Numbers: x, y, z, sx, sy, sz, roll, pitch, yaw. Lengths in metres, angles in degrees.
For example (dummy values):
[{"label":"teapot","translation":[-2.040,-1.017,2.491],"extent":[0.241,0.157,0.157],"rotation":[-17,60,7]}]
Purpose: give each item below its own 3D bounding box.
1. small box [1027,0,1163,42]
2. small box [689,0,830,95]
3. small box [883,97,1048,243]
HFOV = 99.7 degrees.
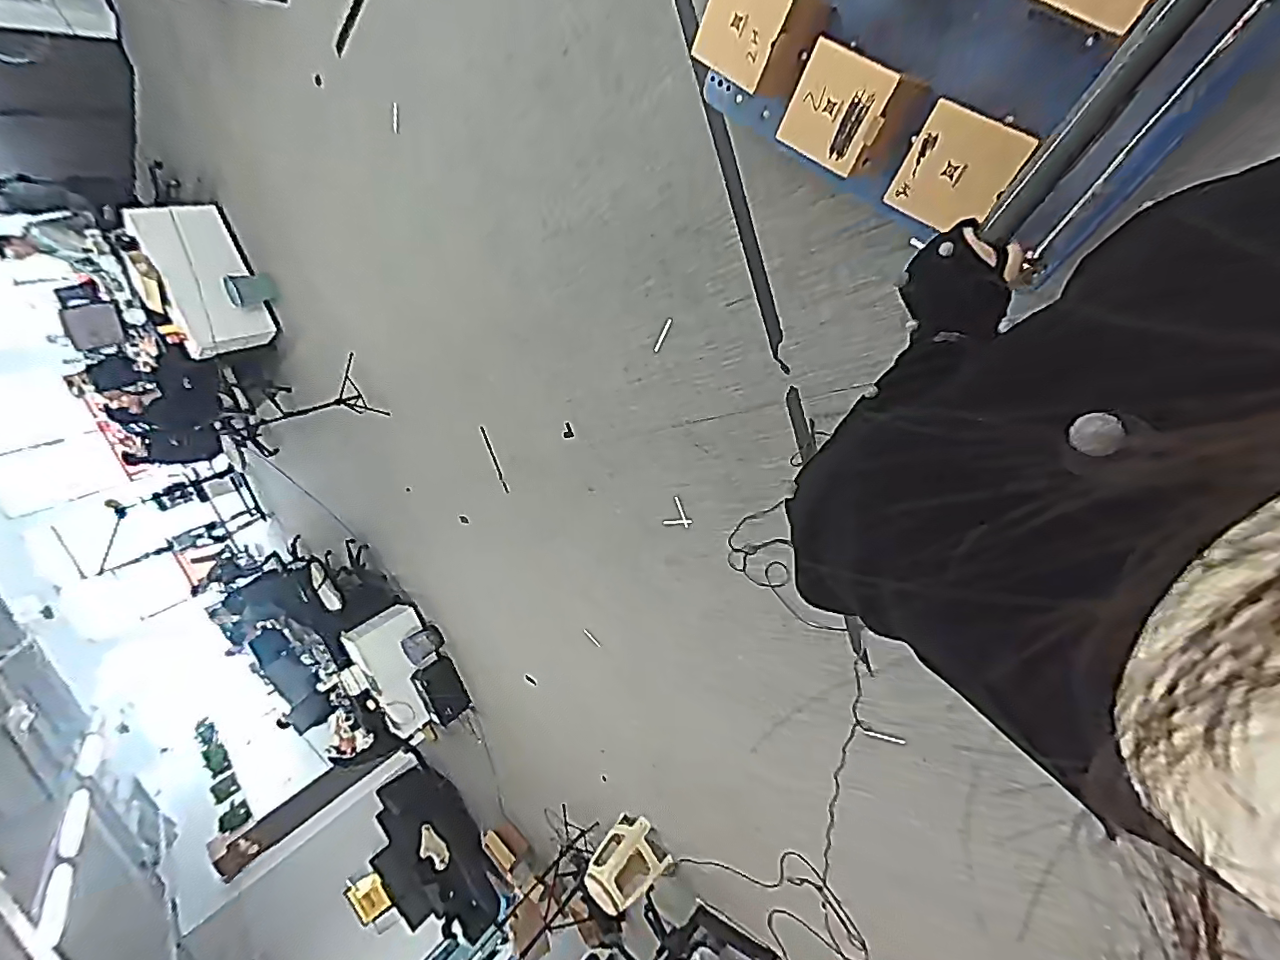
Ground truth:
[{"label":"small box","translation":[0.668,-0.742,0.749],"extent":[0.179,0.176,0.168],"rotation":[44,136,17]},{"label":"small box","translation":[0.236,-0.892,1.071],"extent":[0.179,0.176,0.168],"rotation":[44,137,15]},{"label":"small box","translation":[0.575,-0.545,0.953],"extent":[0.179,0.176,0.168],"rotation":[40,135,19]}]
